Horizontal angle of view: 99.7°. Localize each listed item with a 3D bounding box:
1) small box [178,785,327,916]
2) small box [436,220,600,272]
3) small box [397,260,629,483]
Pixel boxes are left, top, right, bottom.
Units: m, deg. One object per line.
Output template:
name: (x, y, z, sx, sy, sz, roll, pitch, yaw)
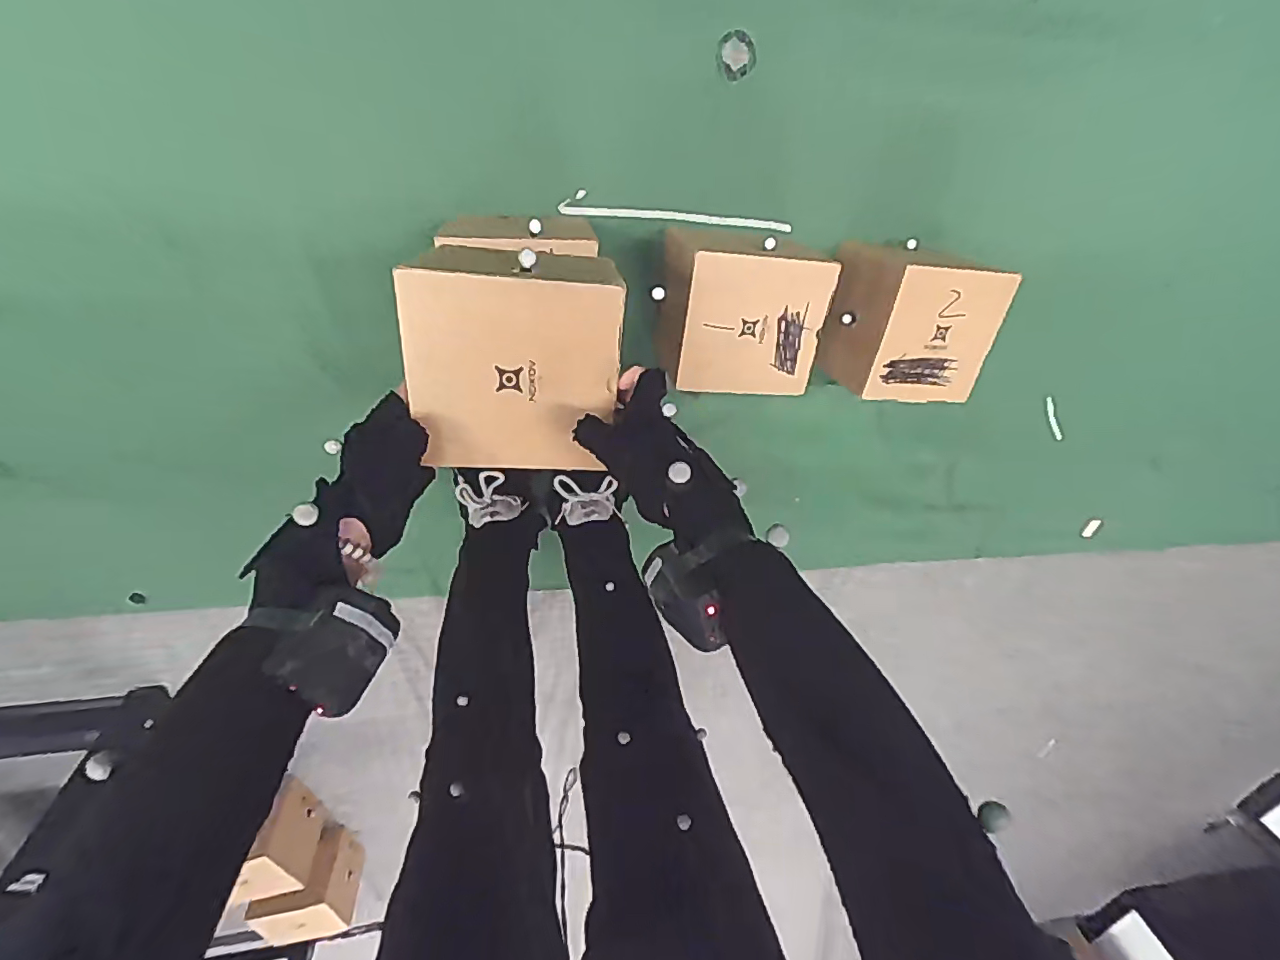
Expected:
small box: (-0.819, 0.794, 1.167, 0.179, 0.176, 0.168, -11, 125, -3)
small box: (-0.138, -0.204, 0.655, 0.168, 0.176, 0.179, -3, 124, -9)
small box: (-0.111, -0.110, 0.515, 0.179, 0.176, 0.168, 1, 118, -9)
